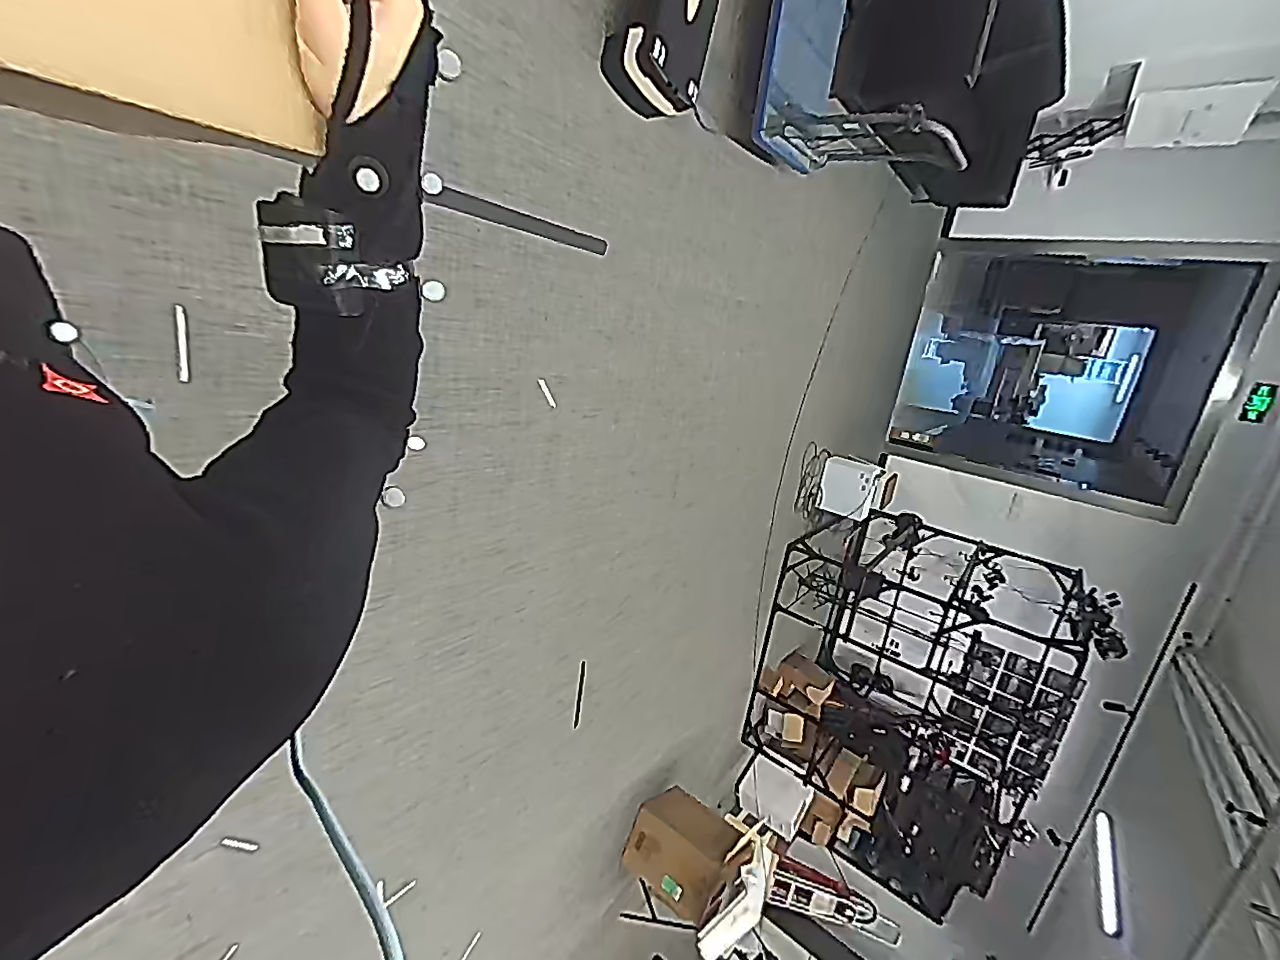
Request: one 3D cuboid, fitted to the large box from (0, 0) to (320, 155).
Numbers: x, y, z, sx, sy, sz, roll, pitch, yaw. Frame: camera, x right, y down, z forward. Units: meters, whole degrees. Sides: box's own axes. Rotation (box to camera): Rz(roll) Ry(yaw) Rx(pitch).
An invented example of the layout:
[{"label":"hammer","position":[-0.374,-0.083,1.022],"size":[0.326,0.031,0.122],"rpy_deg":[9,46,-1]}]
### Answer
[{"label":"large box","position":[-0.393,-0.338,0.175],"size":[0.408,0.320,0.320],"rpy_deg":[-19,127,-54]}]
